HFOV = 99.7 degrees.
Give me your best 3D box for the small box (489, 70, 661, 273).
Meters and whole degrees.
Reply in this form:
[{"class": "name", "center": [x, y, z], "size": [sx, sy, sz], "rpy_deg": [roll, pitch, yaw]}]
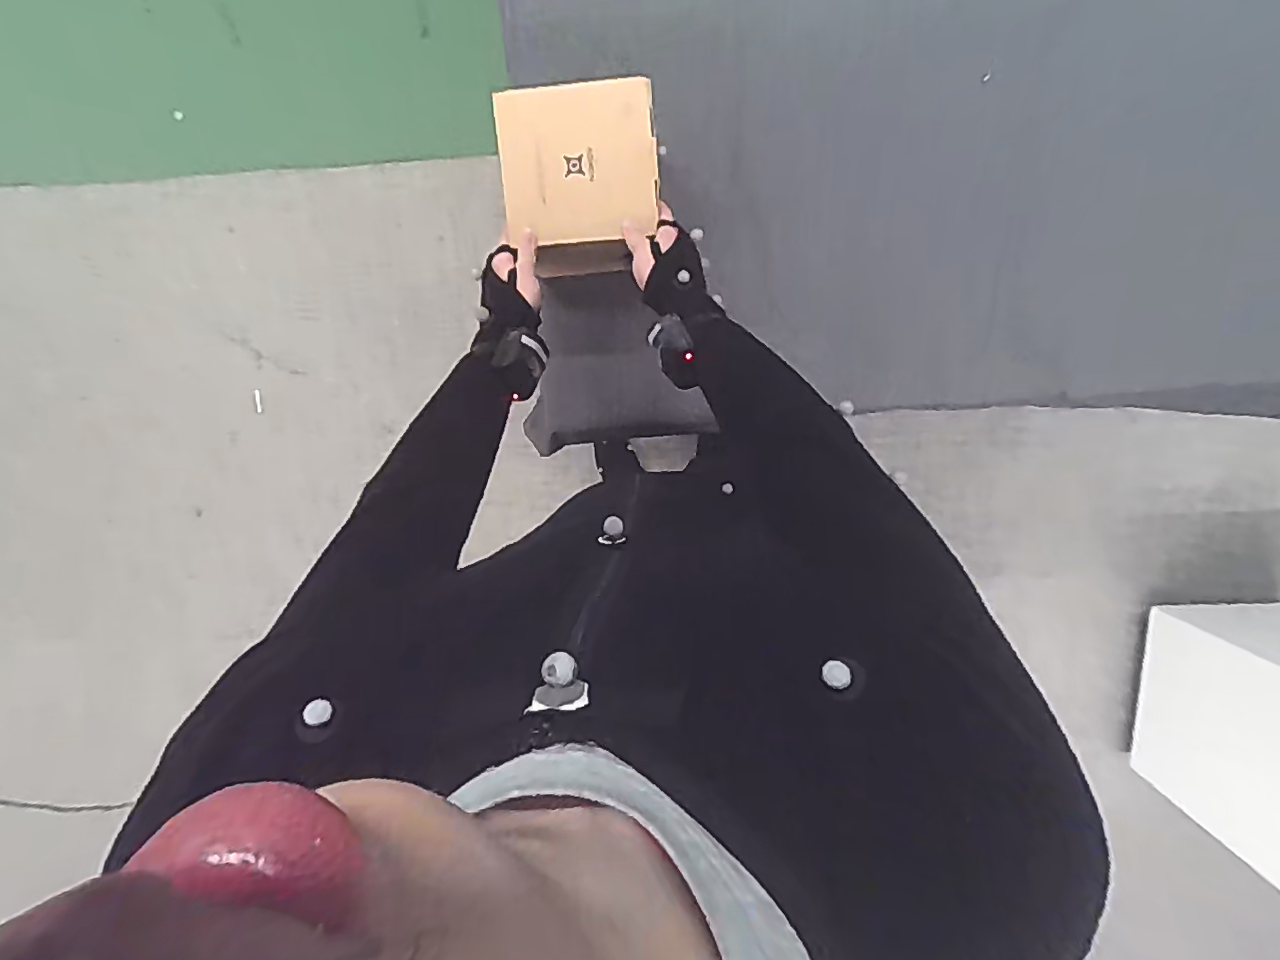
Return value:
[{"class": "small box", "center": [-0.068, -0.361, 0.663], "size": [0.179, 0.176, 0.168], "rpy_deg": [-4, 99, 2]}]
